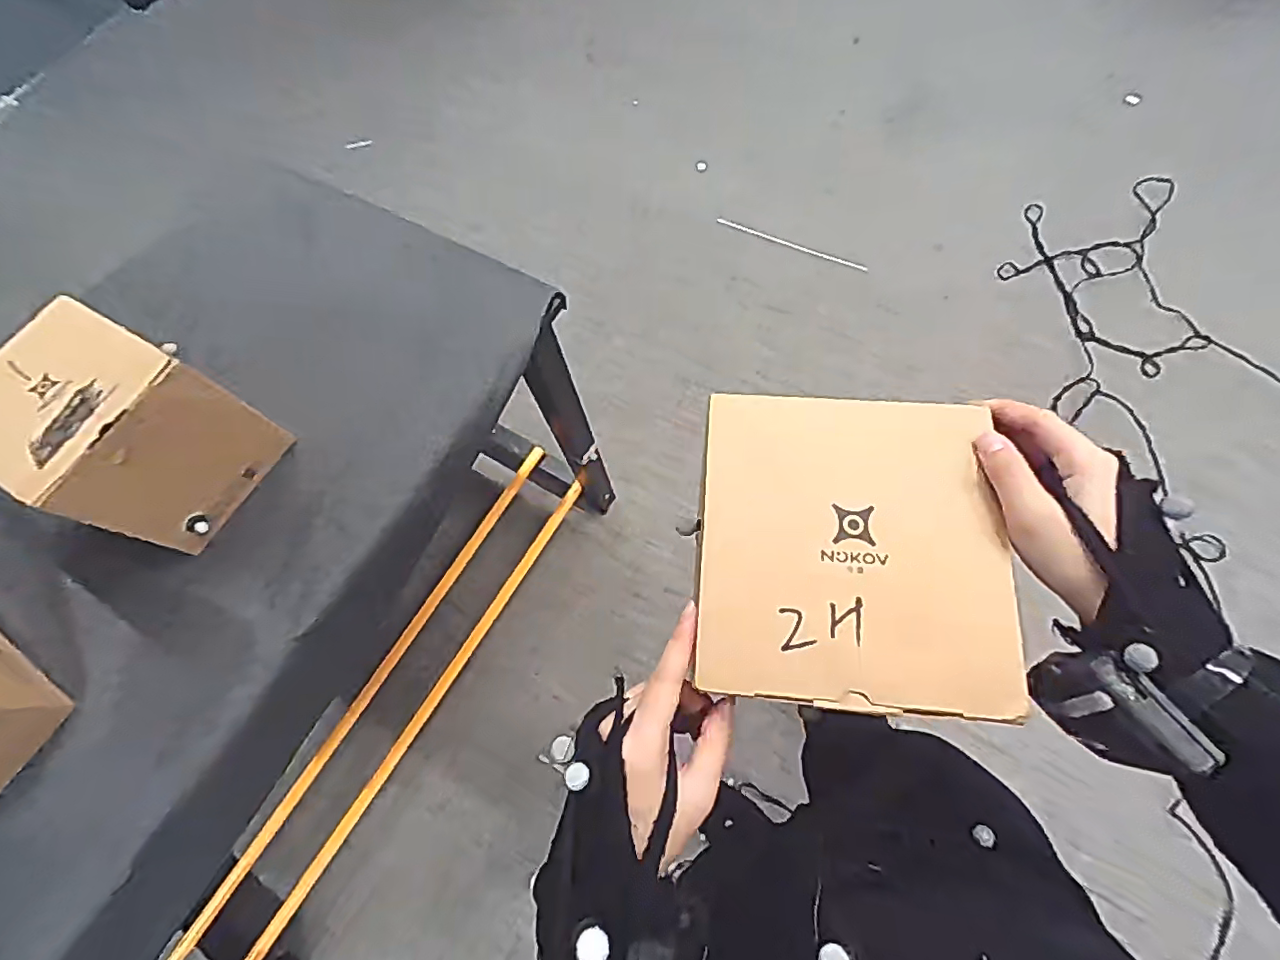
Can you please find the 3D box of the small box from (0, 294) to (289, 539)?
[{"bbox_3d":[-0.528,-0.054,0.568,0.179,0.176,0.168,27,72,15],"label":"small box"}]

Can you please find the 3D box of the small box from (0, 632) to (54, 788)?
[{"bbox_3d":[-0.686,0.227,0.469,0.168,0.176,0.179,28,73,16],"label":"small box"}]
